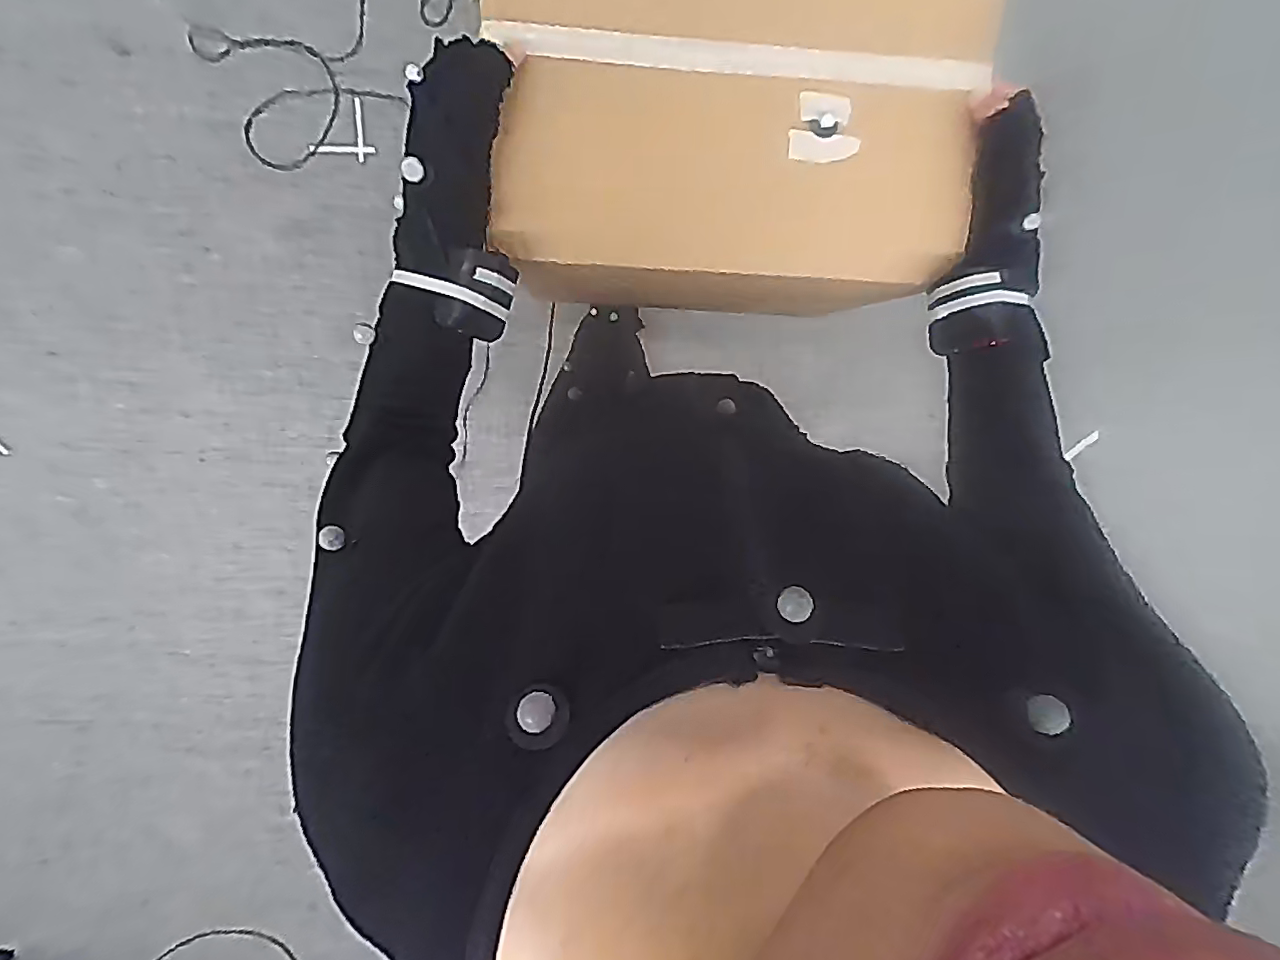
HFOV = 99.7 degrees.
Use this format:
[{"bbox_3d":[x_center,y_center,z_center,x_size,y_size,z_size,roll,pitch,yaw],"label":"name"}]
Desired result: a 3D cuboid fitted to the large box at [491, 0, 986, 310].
[{"bbox_3d":[0.070,-0.367,0.584,0.408,0.320,0.320,2,101,-5],"label":"large box"}]
